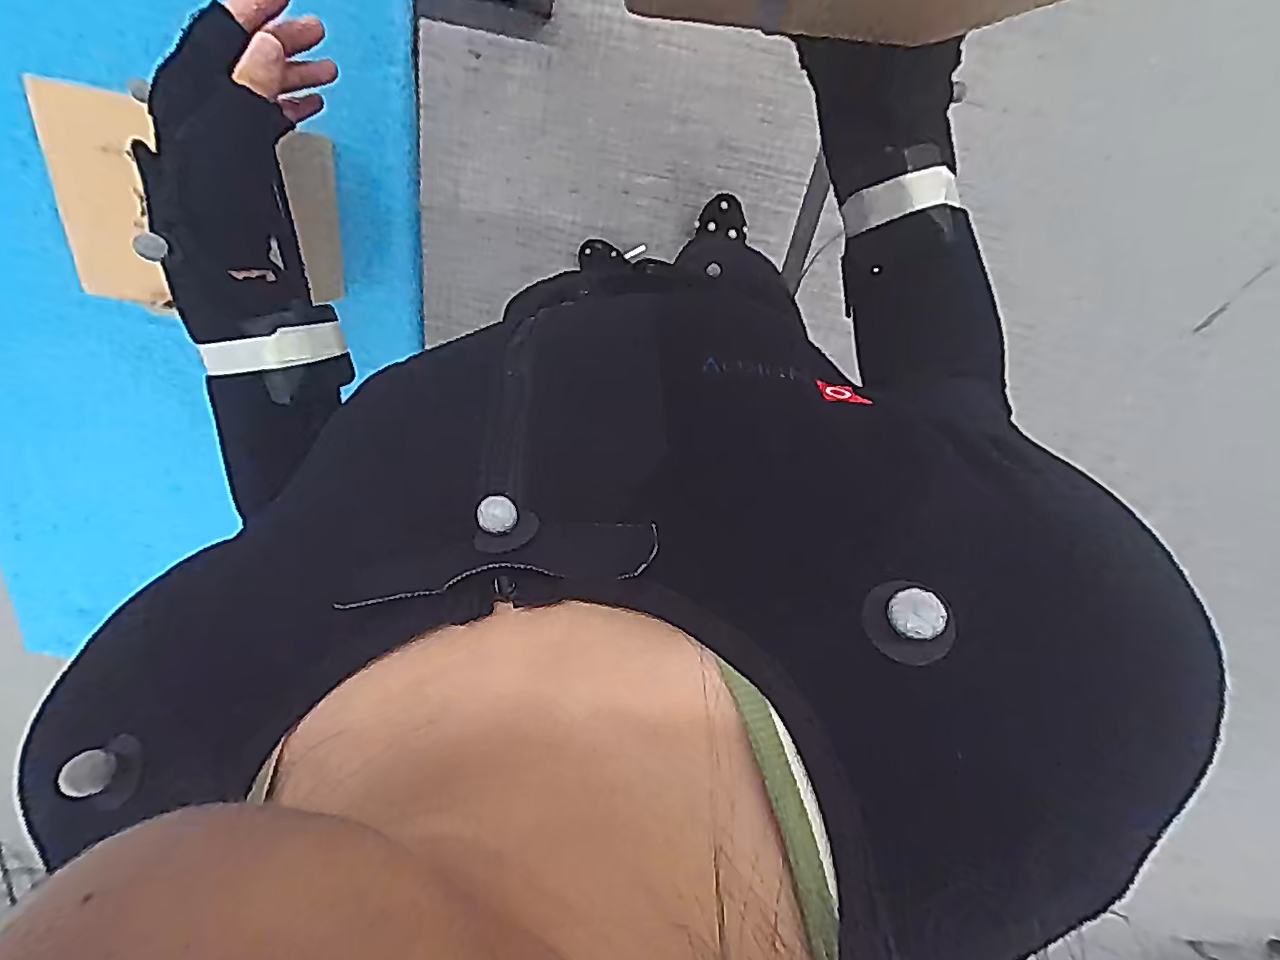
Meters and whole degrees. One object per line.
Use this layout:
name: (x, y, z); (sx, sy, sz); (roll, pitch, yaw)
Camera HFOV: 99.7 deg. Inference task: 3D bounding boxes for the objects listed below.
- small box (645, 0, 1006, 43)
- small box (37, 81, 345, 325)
small box: (0.086, -0.282, 0.201); (0.179, 0.176, 0.168); (5, 123, 1)
small box: (-0.431, -0.278, 0.561); (0.168, 0.176, 0.179); (10, 117, -2)
